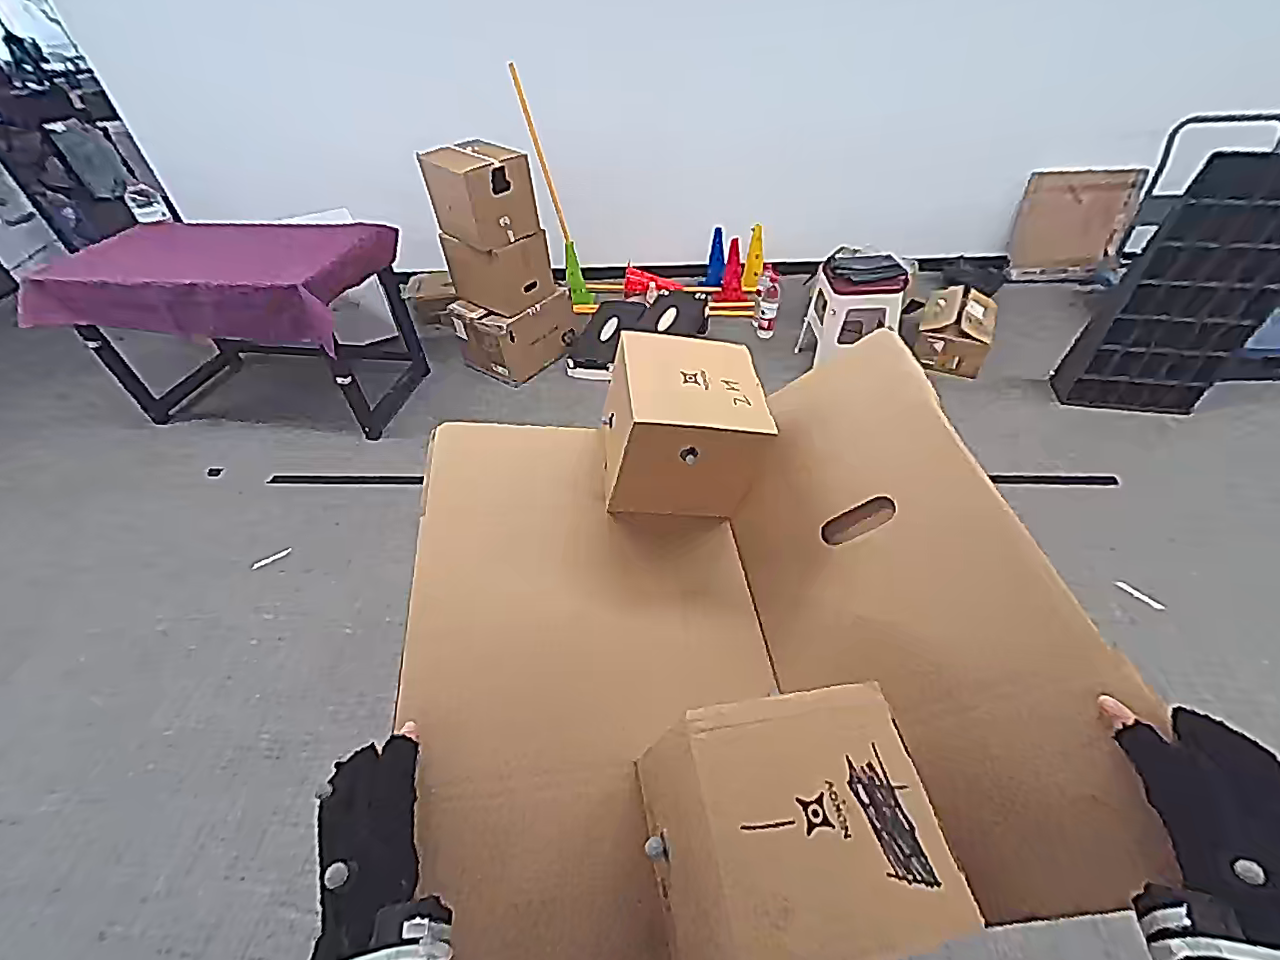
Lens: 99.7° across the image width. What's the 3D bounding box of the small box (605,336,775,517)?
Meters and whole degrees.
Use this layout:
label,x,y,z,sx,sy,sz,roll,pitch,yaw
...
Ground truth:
label,x,y,z,sx,sy,sz,roll,pitch,yaw
small box,0.050,-0.065,0.719,0.179,0.176,0.168,4,50,-13
